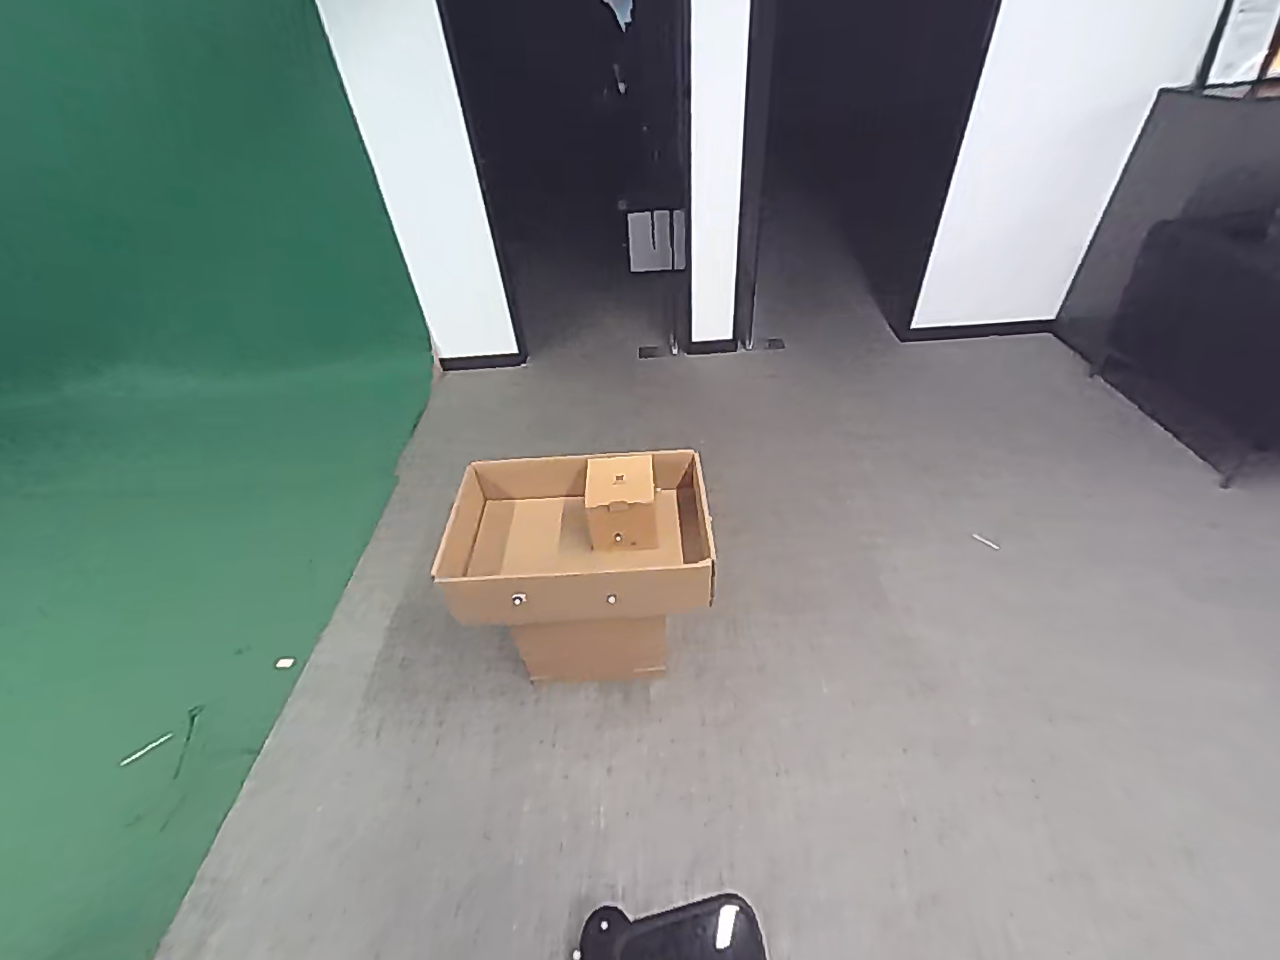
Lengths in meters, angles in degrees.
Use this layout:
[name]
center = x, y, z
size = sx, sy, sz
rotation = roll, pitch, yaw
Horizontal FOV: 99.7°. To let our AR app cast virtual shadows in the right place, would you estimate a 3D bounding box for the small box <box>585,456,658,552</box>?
[small box]
center = -0.043, 0.061, 1.368
size = 0.168, 0.176, 0.179
rotation = -4, 42, 2
